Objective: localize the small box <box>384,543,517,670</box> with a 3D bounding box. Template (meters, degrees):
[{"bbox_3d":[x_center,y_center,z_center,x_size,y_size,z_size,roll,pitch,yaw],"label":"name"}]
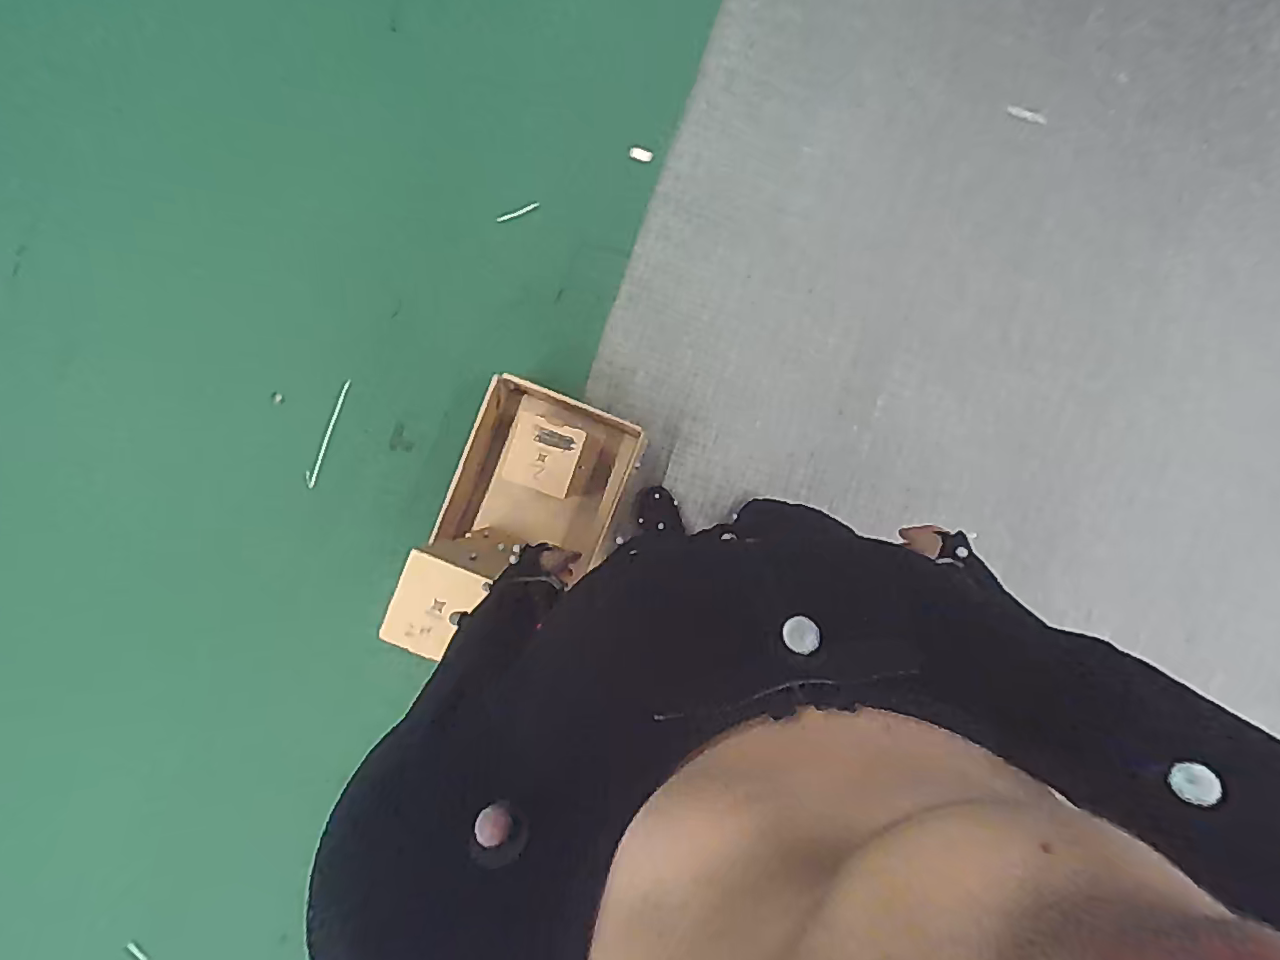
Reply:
[{"bbox_3d":[-0.355,0.233,1.049,0.168,0.176,0.179,21,91,2],"label":"small box"}]

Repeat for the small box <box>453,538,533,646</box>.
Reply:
[{"bbox_3d":[-0.355,0.243,1.215,0.168,0.176,0.179,21,90,1],"label":"small box"}]

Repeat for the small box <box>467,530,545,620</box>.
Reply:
[{"bbox_3d":[-0.357,0.235,1.379,0.179,0.176,0.168,20,90,1],"label":"small box"}]
